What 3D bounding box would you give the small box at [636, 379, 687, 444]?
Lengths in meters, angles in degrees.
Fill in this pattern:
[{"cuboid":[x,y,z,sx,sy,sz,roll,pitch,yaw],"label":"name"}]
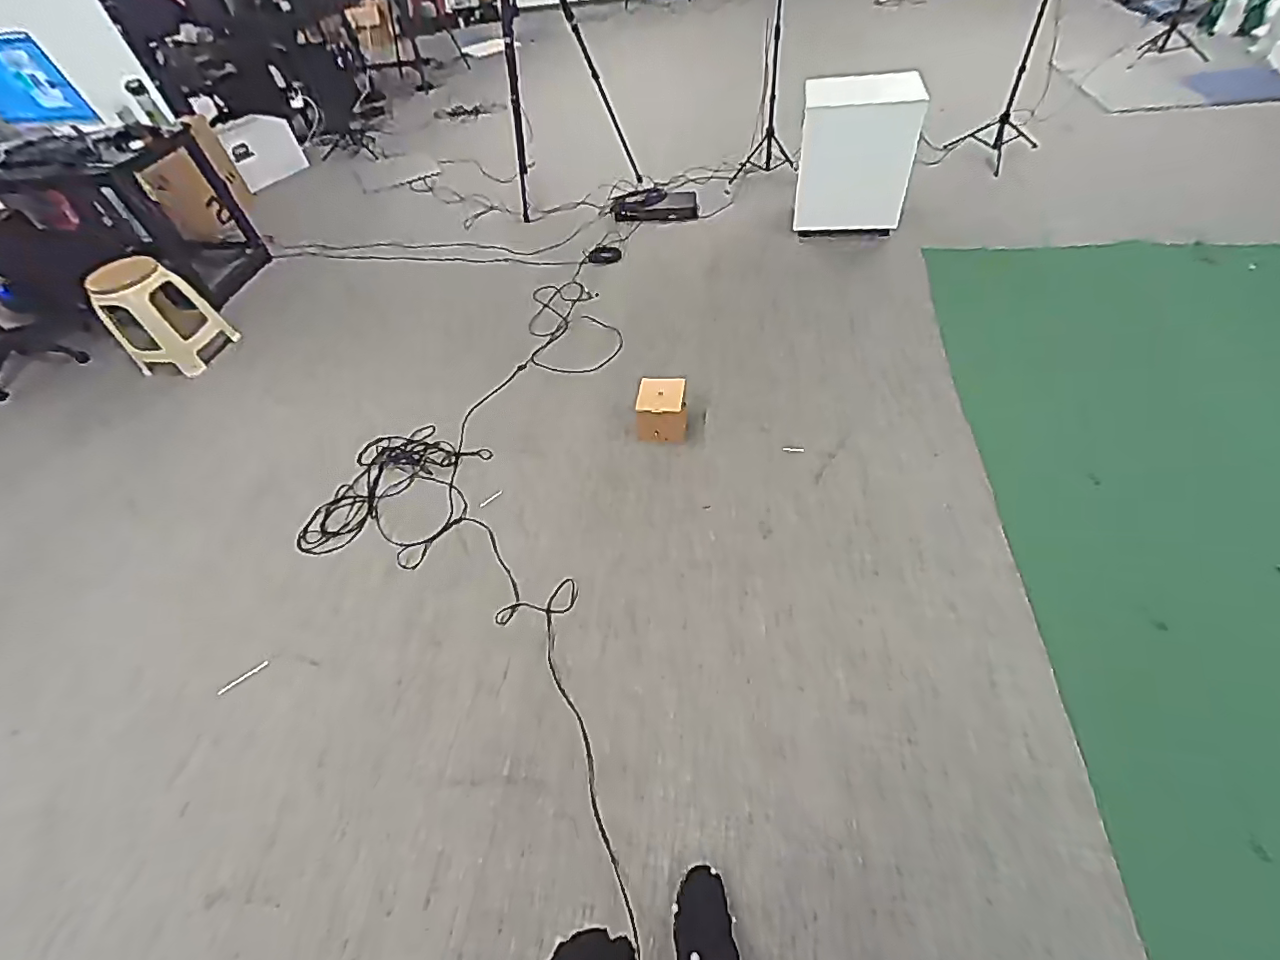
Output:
[{"cuboid":[0.085,-0.257,2.023,0.168,0.176,0.179,2,51,11],"label":"small box"}]
